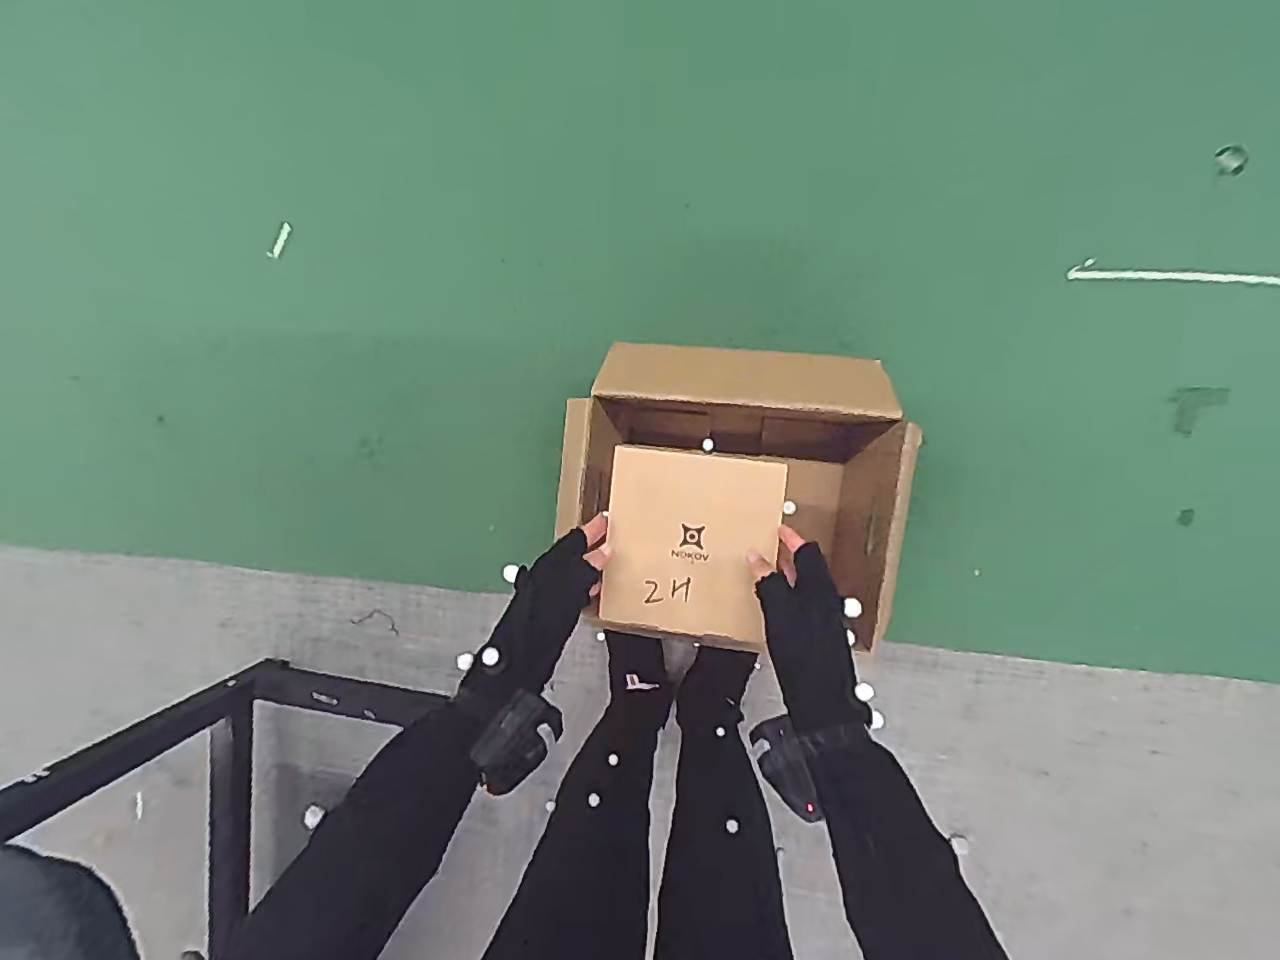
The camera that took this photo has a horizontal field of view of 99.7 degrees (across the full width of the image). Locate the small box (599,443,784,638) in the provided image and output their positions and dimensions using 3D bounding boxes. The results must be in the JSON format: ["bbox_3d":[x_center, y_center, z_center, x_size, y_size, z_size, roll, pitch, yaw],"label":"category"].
[{"bbox_3d":[0.058,0.054,0.604,0.168,0.176,0.179,6,94,8],"label":"small box"}]
